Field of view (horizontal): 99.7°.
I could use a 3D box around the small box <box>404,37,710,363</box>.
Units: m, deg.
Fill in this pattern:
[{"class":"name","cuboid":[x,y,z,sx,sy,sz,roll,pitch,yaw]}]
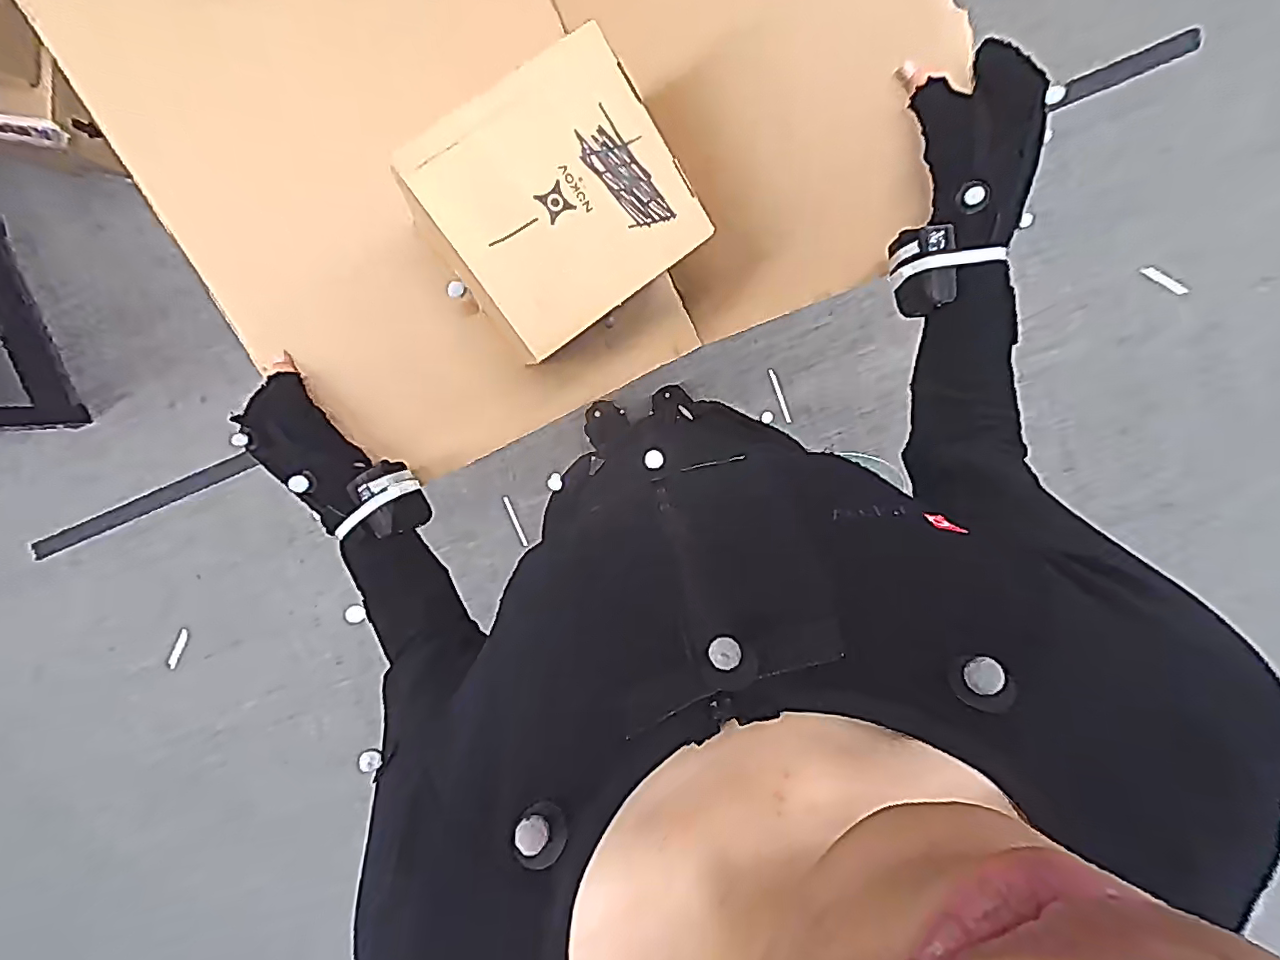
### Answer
[{"class":"small box","cuboid":[-0.075,-0.220,0.477,0.179,0.176,0.168,-38,108,-6]}]
